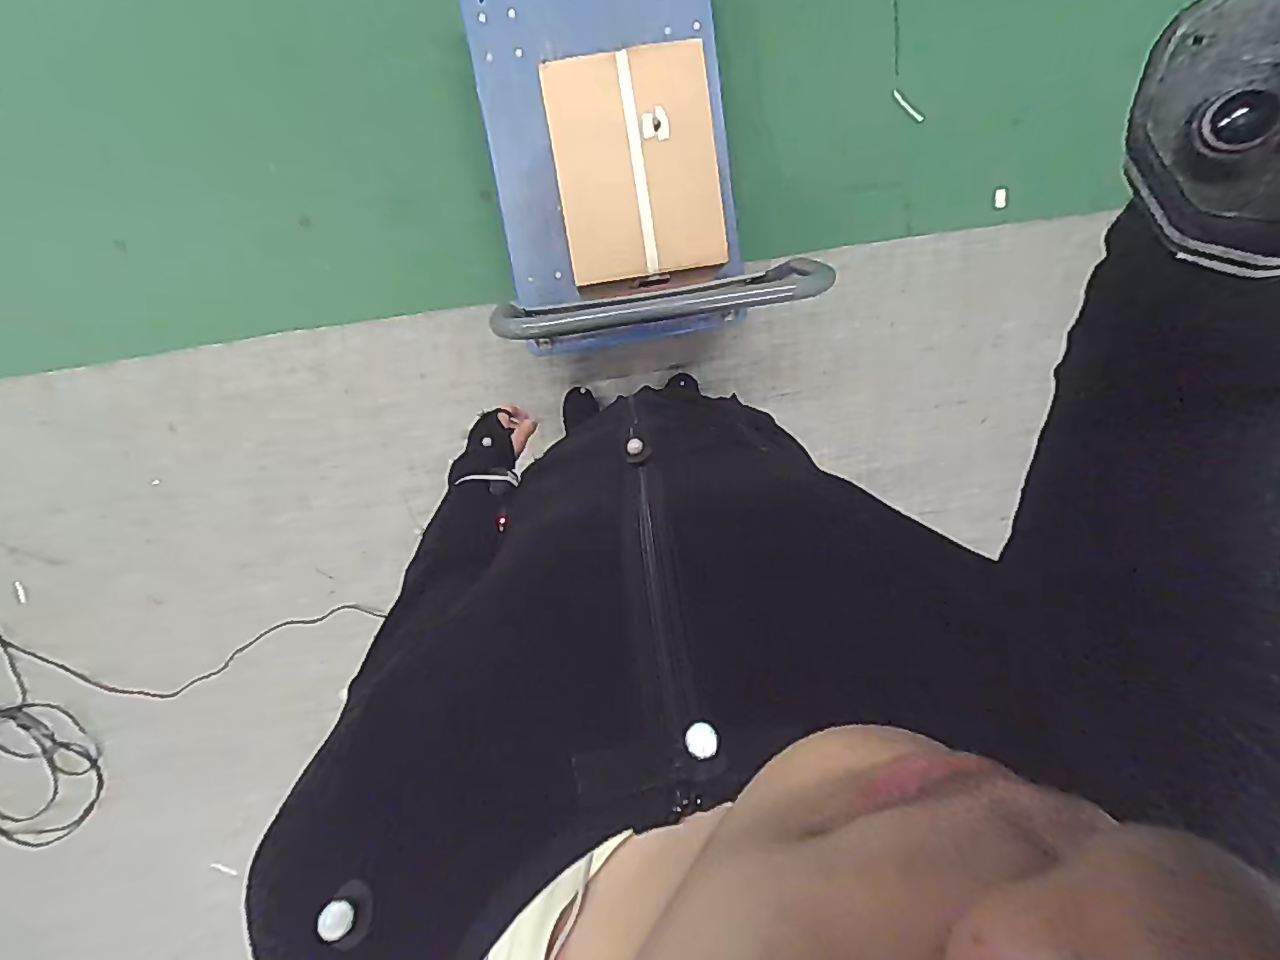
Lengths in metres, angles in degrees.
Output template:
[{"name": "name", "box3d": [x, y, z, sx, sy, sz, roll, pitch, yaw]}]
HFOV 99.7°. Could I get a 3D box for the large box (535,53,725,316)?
[{"name": "large box", "box3d": [-0.020, -0.613, 1.199, 0.320, 0.320, 0.408, -10, 99, -2]}]
